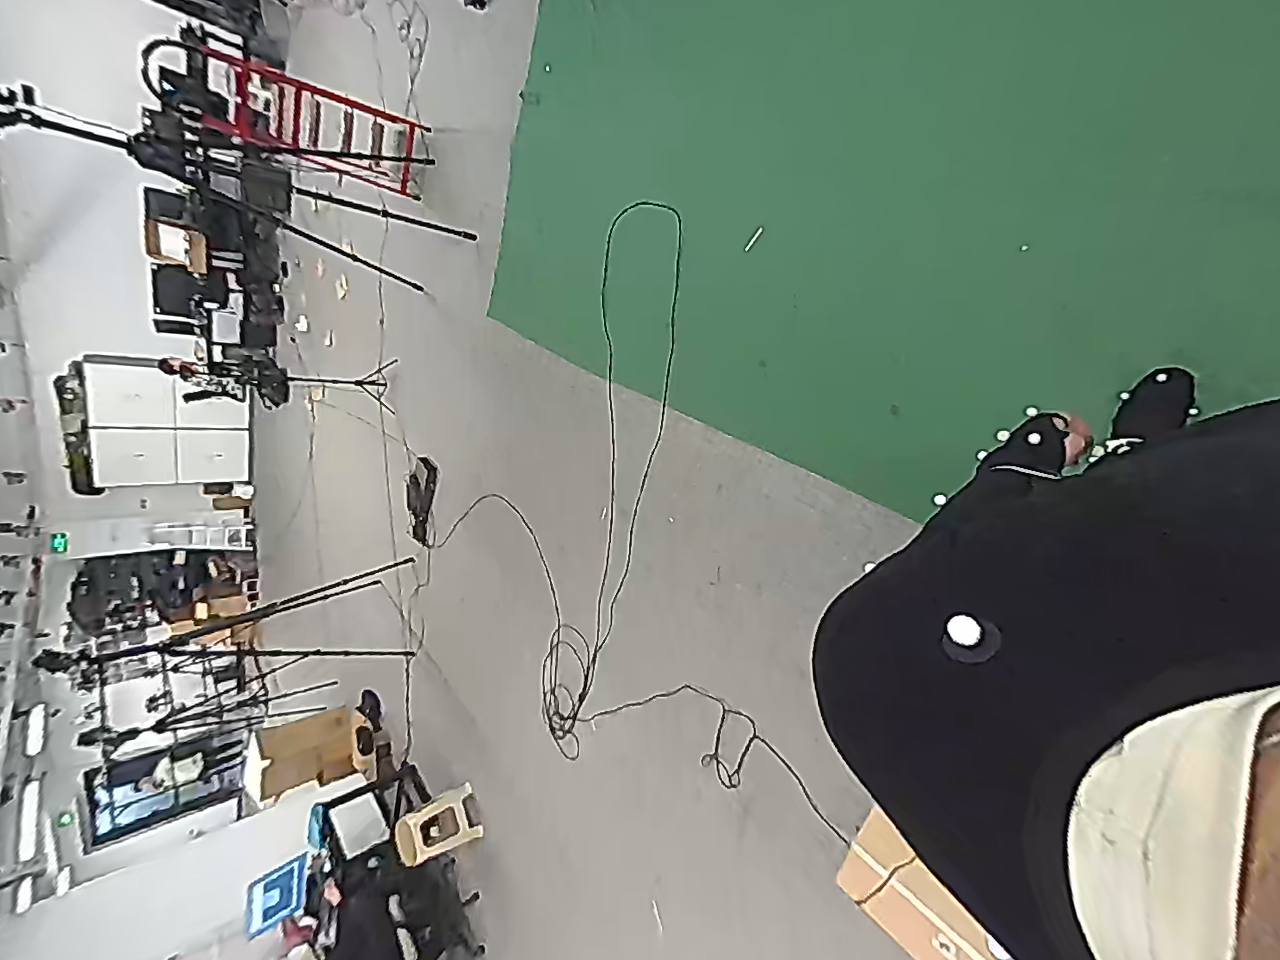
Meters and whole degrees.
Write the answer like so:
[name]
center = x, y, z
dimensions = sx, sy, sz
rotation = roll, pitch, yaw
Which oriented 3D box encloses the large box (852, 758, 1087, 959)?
[large box]
center = 0.850, 1.034, 1.417
dimensions = 0.408, 0.320, 0.320
rotation = 30, 114, 40
